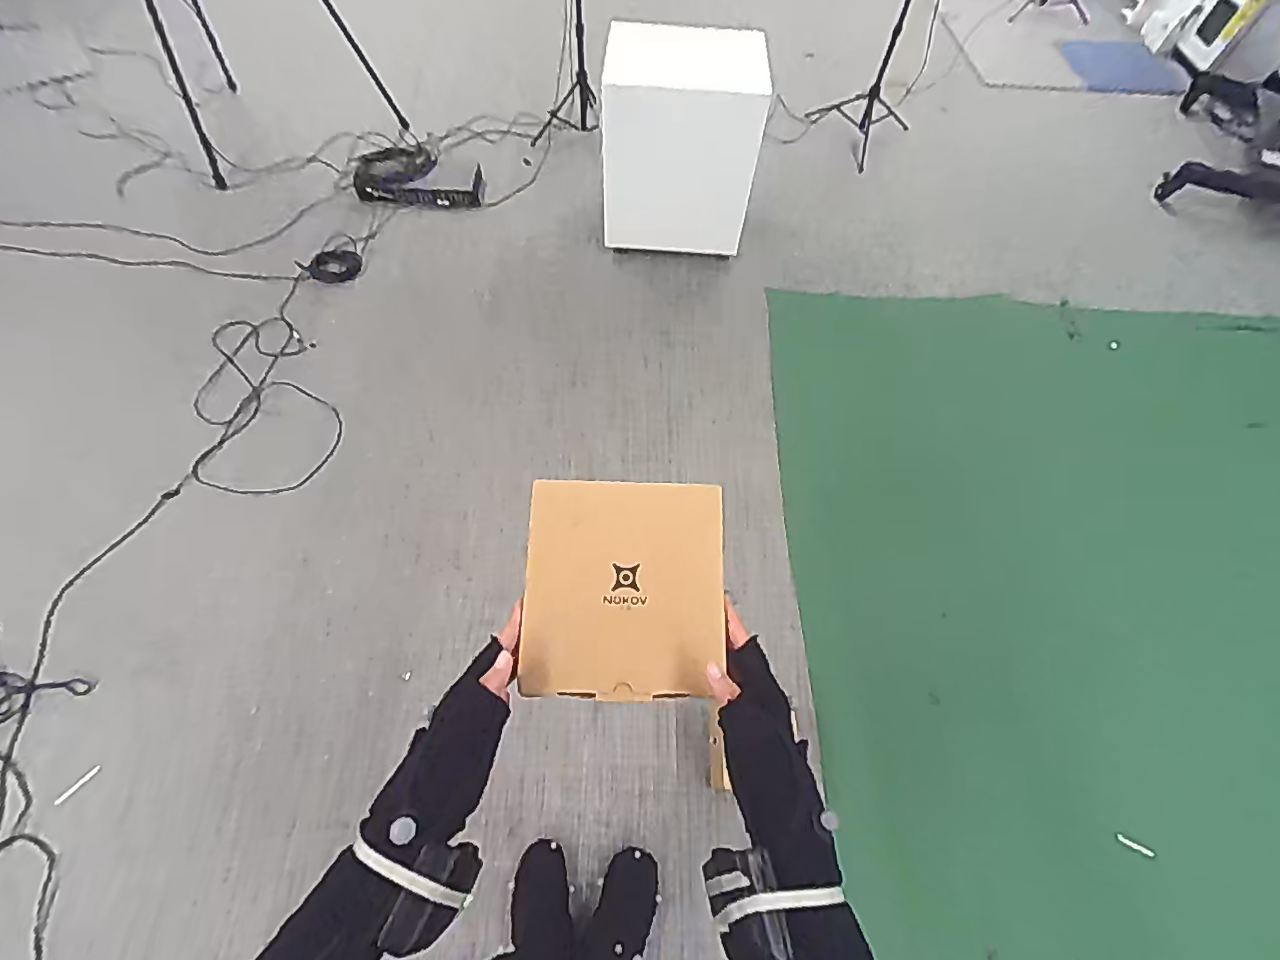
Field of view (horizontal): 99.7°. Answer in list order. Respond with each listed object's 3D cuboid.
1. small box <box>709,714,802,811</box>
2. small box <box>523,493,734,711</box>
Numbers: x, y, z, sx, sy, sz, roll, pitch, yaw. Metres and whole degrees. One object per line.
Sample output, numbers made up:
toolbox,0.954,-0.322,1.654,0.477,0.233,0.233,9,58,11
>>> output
small box,0.247,0.629,1.200,0.168,0.176,0.179,3,58,-2
small box,-0.011,0.120,0.515,0.168,0.176,0.179,1,72,-2
